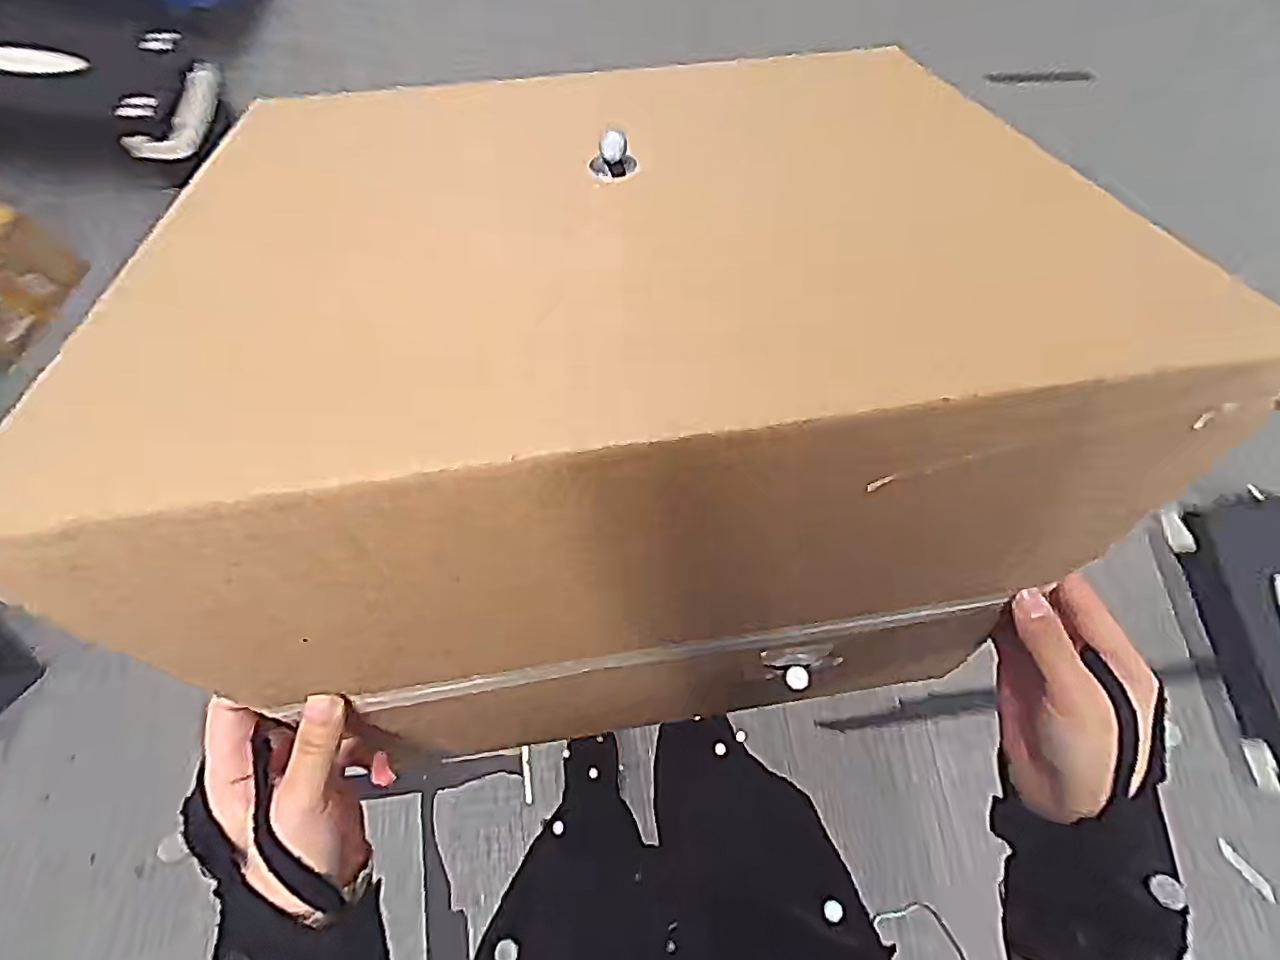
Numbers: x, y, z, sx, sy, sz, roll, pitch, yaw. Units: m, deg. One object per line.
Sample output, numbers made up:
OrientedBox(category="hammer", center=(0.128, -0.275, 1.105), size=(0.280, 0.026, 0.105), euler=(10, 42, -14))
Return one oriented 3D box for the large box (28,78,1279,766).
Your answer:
OrientedBox(category="large box", center=(0.000, -0.031, 0.371), size=(0.408, 0.320, 0.320), euler=(-8, 54, -3))
